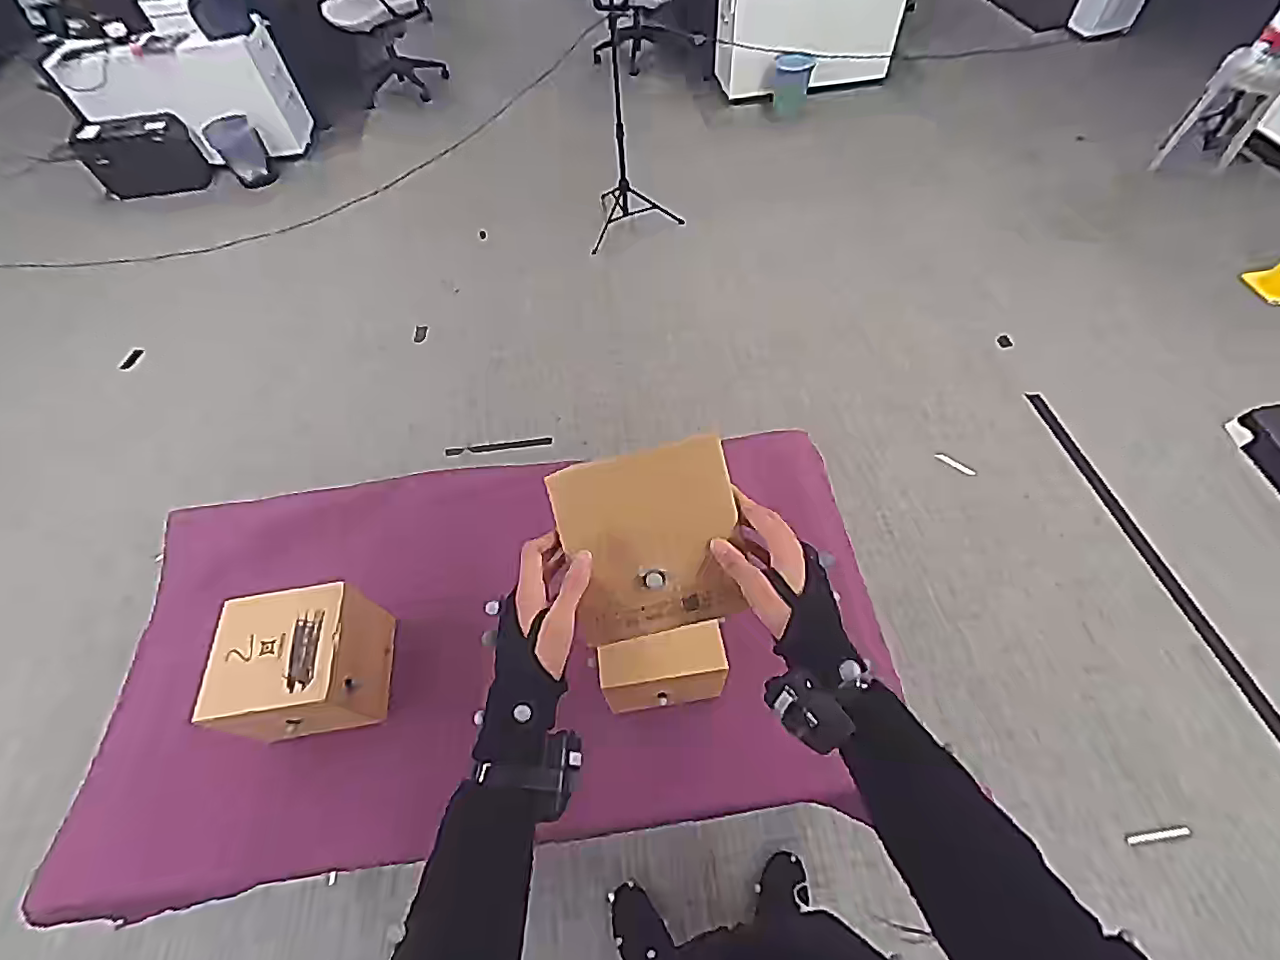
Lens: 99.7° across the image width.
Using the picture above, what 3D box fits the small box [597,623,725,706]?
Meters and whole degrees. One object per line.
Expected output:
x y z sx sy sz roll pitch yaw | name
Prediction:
0.026 0.226 0.800 0.168 0.176 0.179 -8 57 -2 | small box

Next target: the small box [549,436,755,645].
0.015 0.055 0.582 0.168 0.179 0.176 -14 97 2 | small box
